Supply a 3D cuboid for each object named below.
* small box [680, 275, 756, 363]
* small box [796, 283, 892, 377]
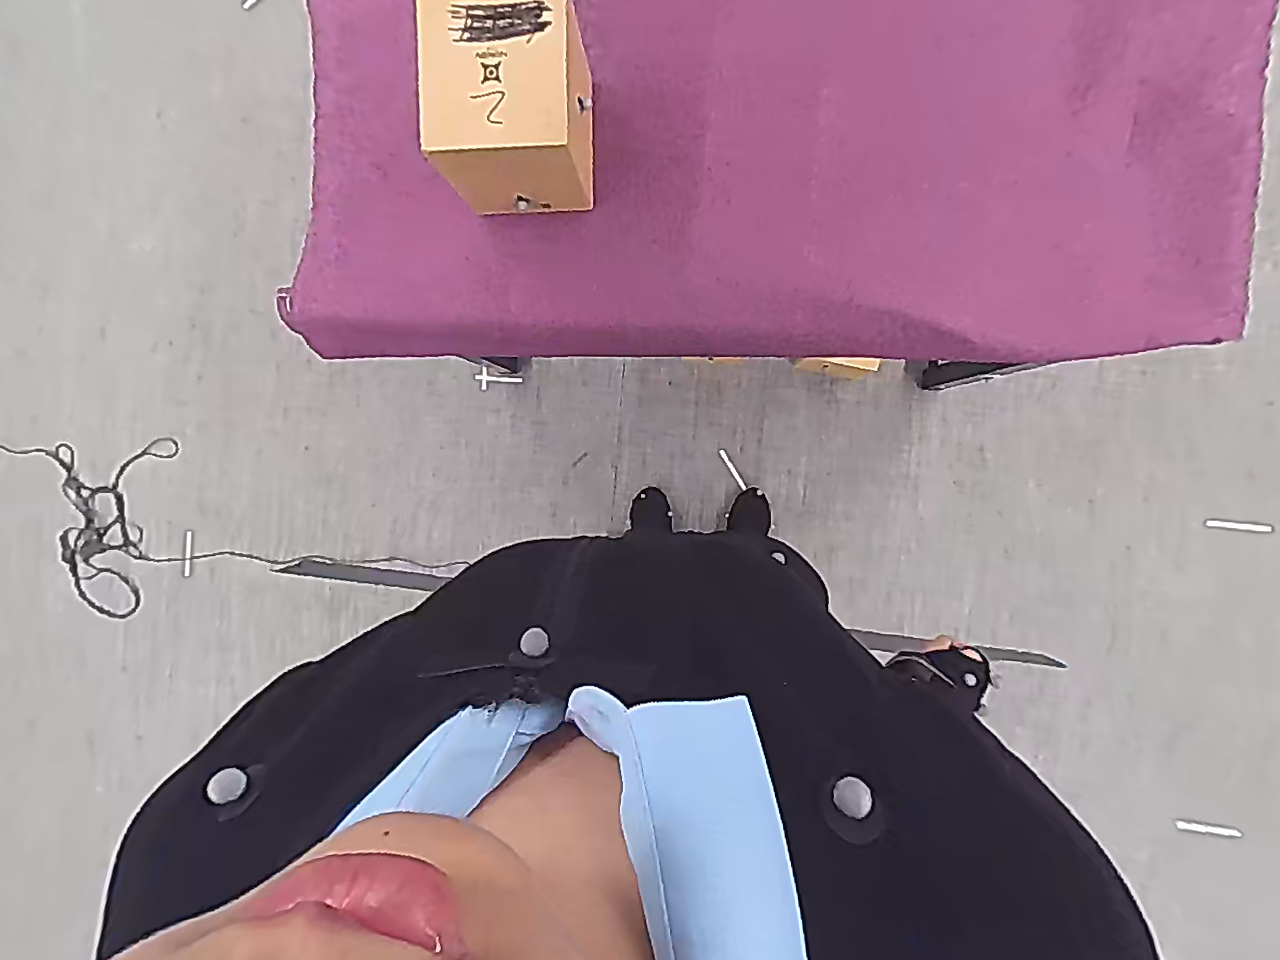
[{"bbox_3d":[0.193,-0.399,1.370,0.168,0.176,0.179,6,93,4],"label":"small box"},{"bbox_3d":[0.499,-0.365,1.350,0.168,0.176,0.179,13,94,4],"label":"small box"}]
